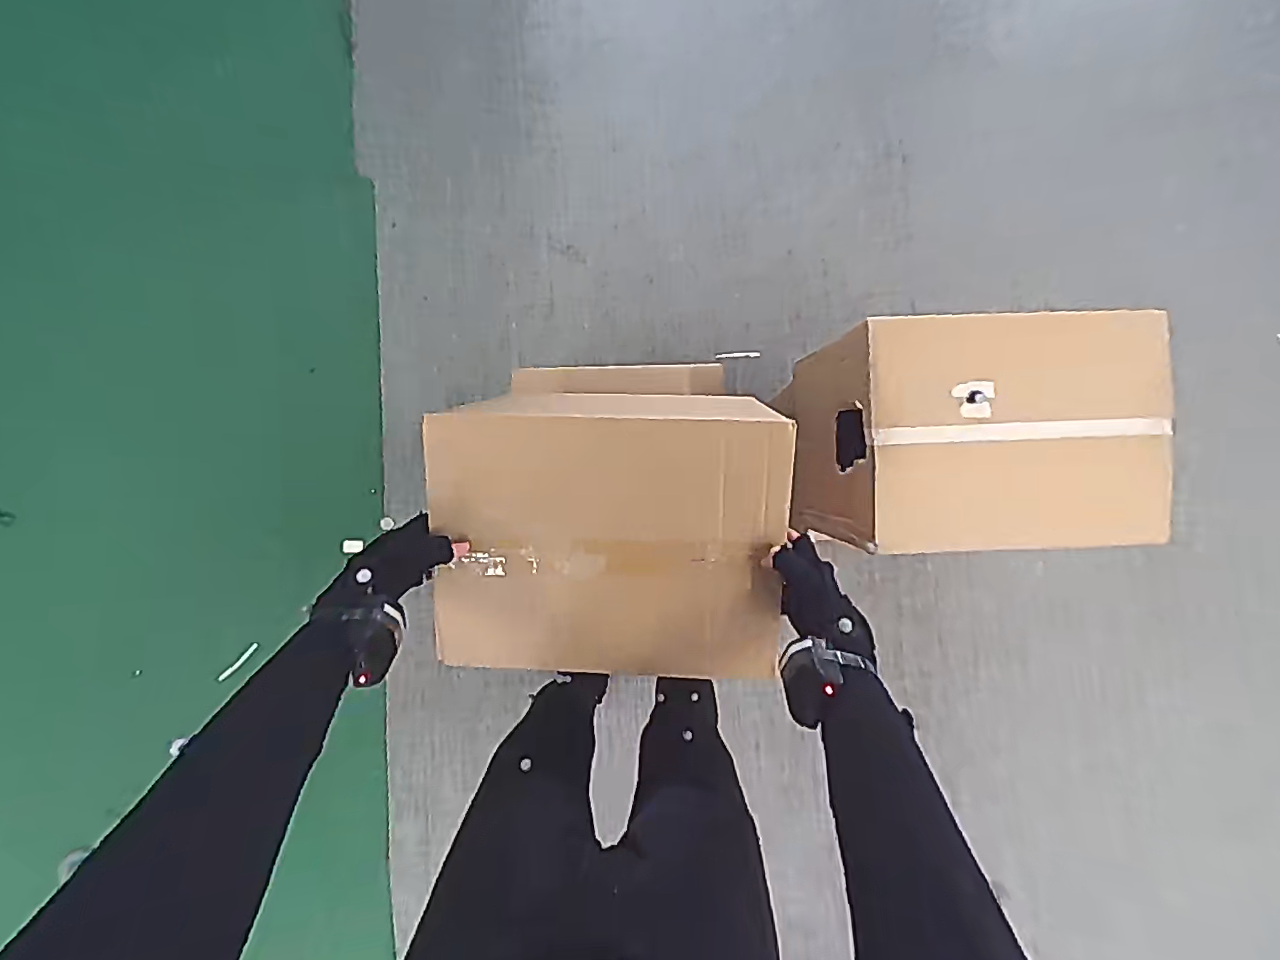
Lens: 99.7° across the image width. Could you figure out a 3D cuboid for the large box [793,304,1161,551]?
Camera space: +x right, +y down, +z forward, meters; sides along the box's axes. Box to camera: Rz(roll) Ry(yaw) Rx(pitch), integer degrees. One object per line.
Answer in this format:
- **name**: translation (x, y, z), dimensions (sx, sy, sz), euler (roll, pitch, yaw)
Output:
- **large box**: translation (0.489, -0.075, 0.863), dimensions (0.408, 0.320, 0.320), euler (-2, 91, 0)
